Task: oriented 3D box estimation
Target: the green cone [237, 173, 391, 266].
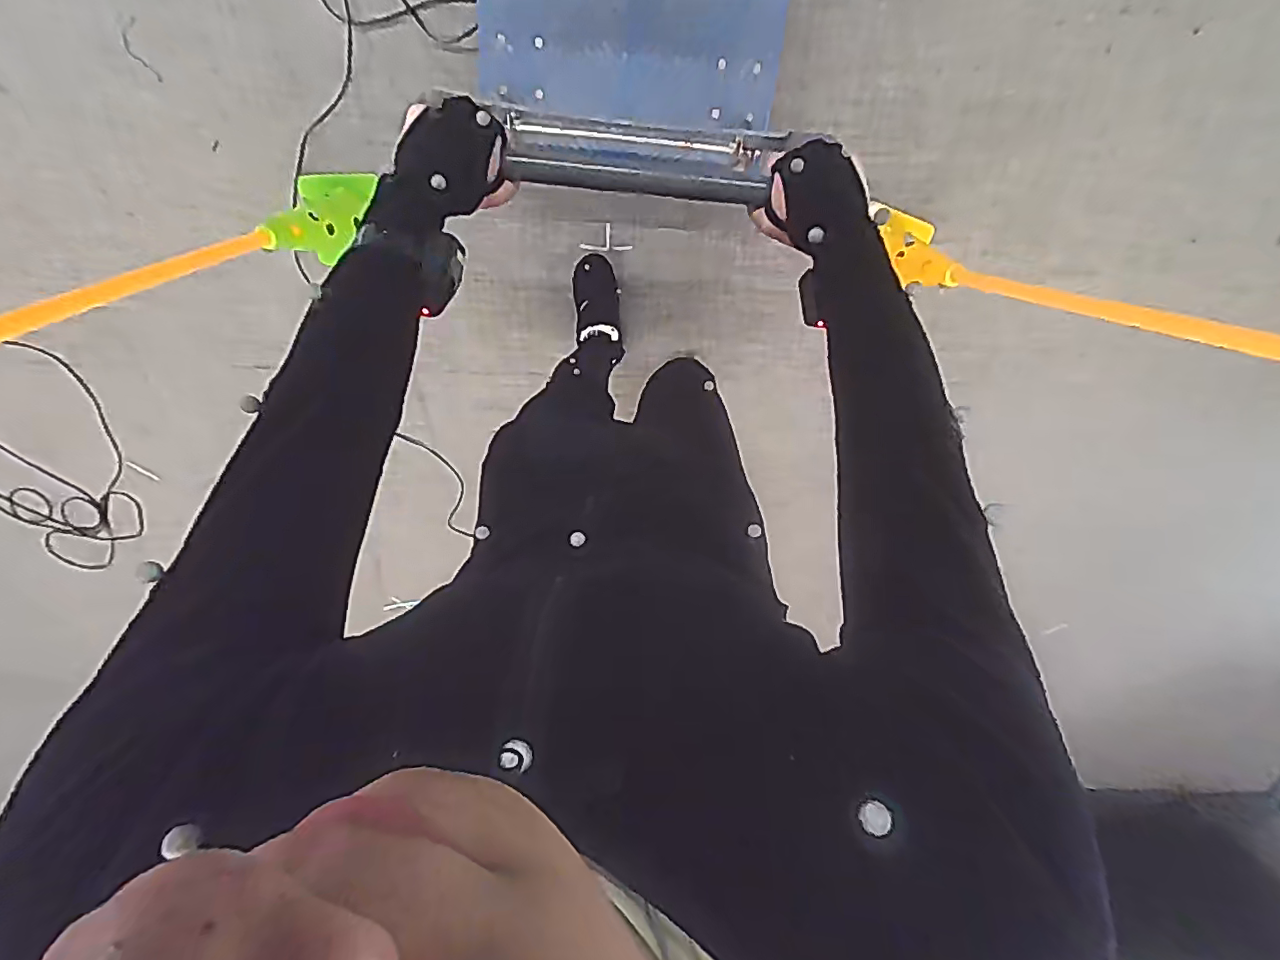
[{"bbox_3d":[-0.716,-0.538,1.148,0.202,0.368,0.200,-2,119,1],"label":"green cone"}]
